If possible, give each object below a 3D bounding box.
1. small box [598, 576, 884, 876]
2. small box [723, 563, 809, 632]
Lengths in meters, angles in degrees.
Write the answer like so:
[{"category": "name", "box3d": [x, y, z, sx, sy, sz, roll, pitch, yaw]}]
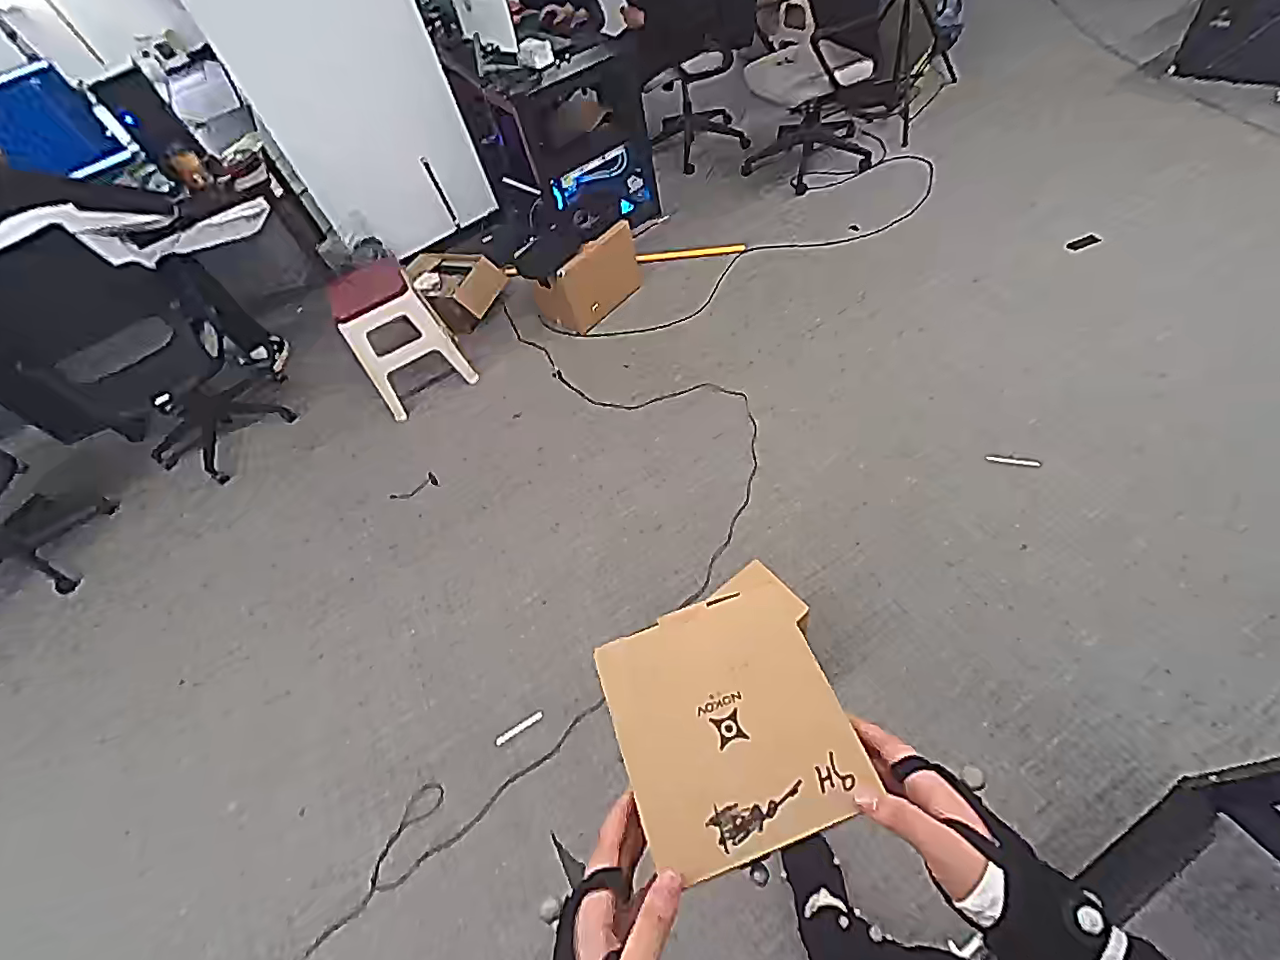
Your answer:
[{"category": "small box", "box3d": [0.076, 0.219, 0.475, 0.168, 0.176, 0.179, -20, 53, -5]}, {"category": "small box", "box3d": [0.263, 0.332, 1.237, 0.179, 0.176, 0.168, -36, 55, -14]}]
